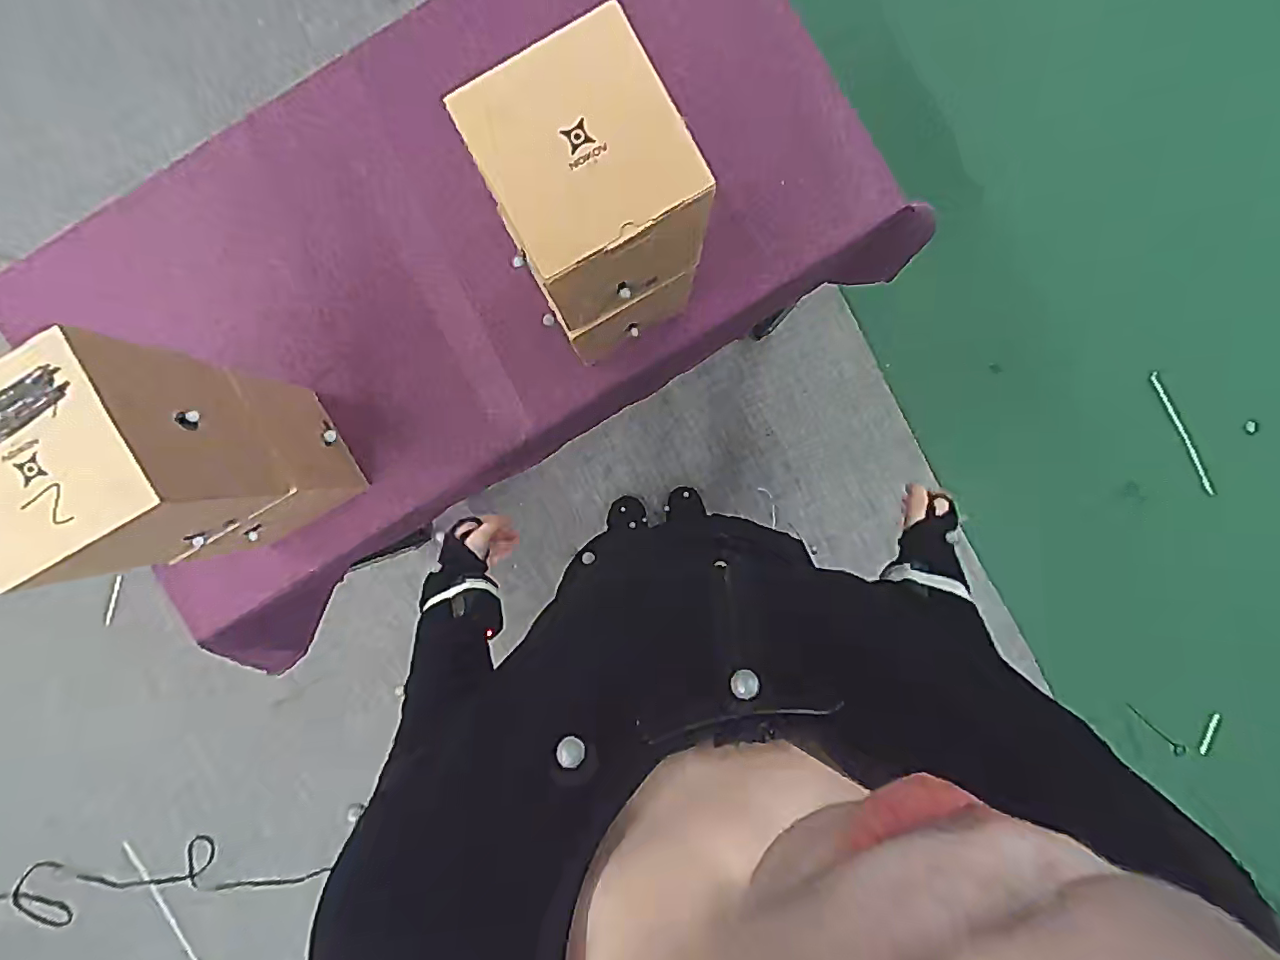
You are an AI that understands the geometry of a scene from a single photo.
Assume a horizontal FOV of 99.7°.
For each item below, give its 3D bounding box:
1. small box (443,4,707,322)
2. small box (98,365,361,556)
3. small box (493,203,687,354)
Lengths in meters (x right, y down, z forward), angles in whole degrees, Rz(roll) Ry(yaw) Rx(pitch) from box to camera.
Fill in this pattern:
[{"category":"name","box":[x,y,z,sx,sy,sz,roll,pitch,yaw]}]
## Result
[{"category":"small box","box":[-0.055,-0.283,0.528,0.168,0.176,0.179,-29,92,1]},{"category":"small box","box":[-0.511,-0.022,0.701,0.179,0.176,0.168,-30,91,0]},{"category":"small box","box":[-0.055,-0.278,0.691,0.168,0.176,0.179,-29,91,1]}]
